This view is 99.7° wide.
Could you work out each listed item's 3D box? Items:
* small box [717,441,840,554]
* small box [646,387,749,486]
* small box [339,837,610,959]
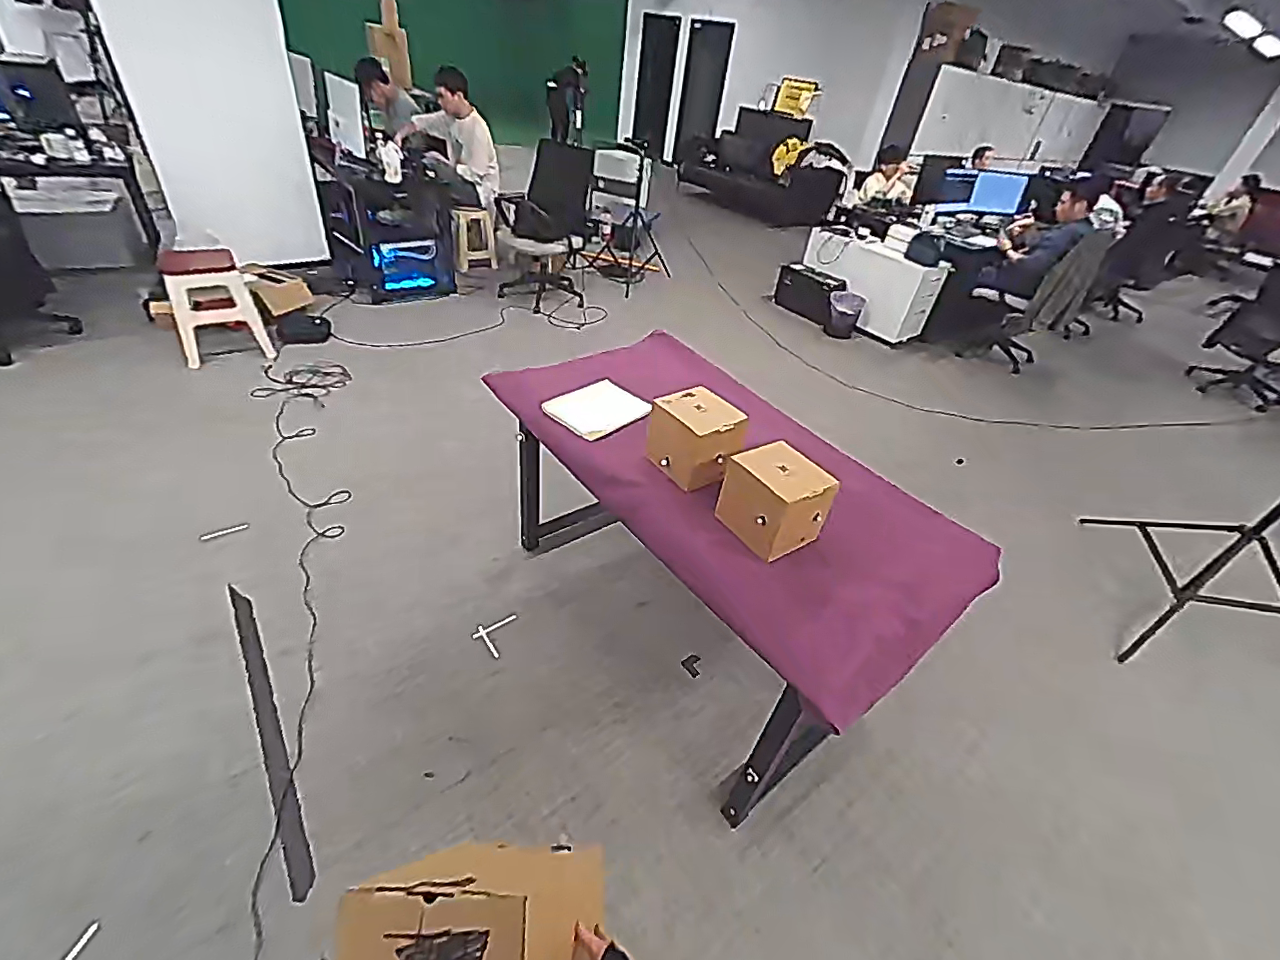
[{"bbox_3d":[0.296,0.043,1.185,0.168,0.176,0.179,-17,43,-32],"label":"small box"},{"bbox_3d":[0.136,-0.102,1.340,0.168,0.176,0.179,-21,48,-33],"label":"small box"},{"bbox_3d":[-0.129,0.415,0.455,0.168,0.176,0.179,-10,64,14],"label":"small box"}]
